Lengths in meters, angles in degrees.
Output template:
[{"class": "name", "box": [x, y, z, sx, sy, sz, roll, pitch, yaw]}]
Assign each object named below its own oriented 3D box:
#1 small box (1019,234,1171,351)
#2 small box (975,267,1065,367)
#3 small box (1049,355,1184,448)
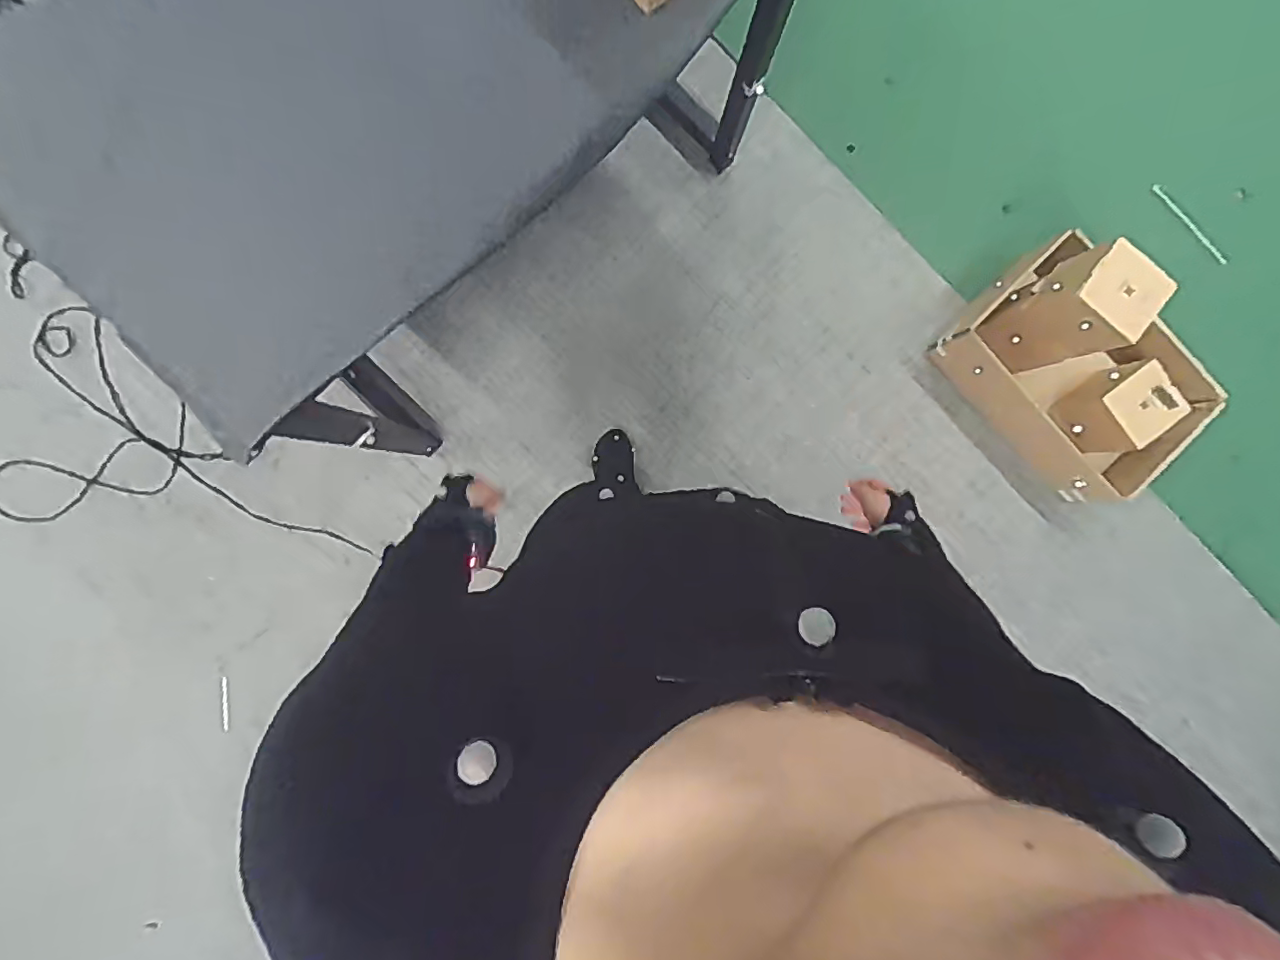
[{"class": "small box", "box": [1.043, -0.424, 1.257, 0.179, 0.176, 0.168, 37, 89, -5]}, {"class": "small box", "box": [1.036, -0.422, 1.421, 0.168, 0.176, 0.179, -43, 92, -2]}, {"class": "small box", "box": [1.254, -0.201, 1.437, 0.179, 0.176, 0.168, -37, 92, -1]}]
